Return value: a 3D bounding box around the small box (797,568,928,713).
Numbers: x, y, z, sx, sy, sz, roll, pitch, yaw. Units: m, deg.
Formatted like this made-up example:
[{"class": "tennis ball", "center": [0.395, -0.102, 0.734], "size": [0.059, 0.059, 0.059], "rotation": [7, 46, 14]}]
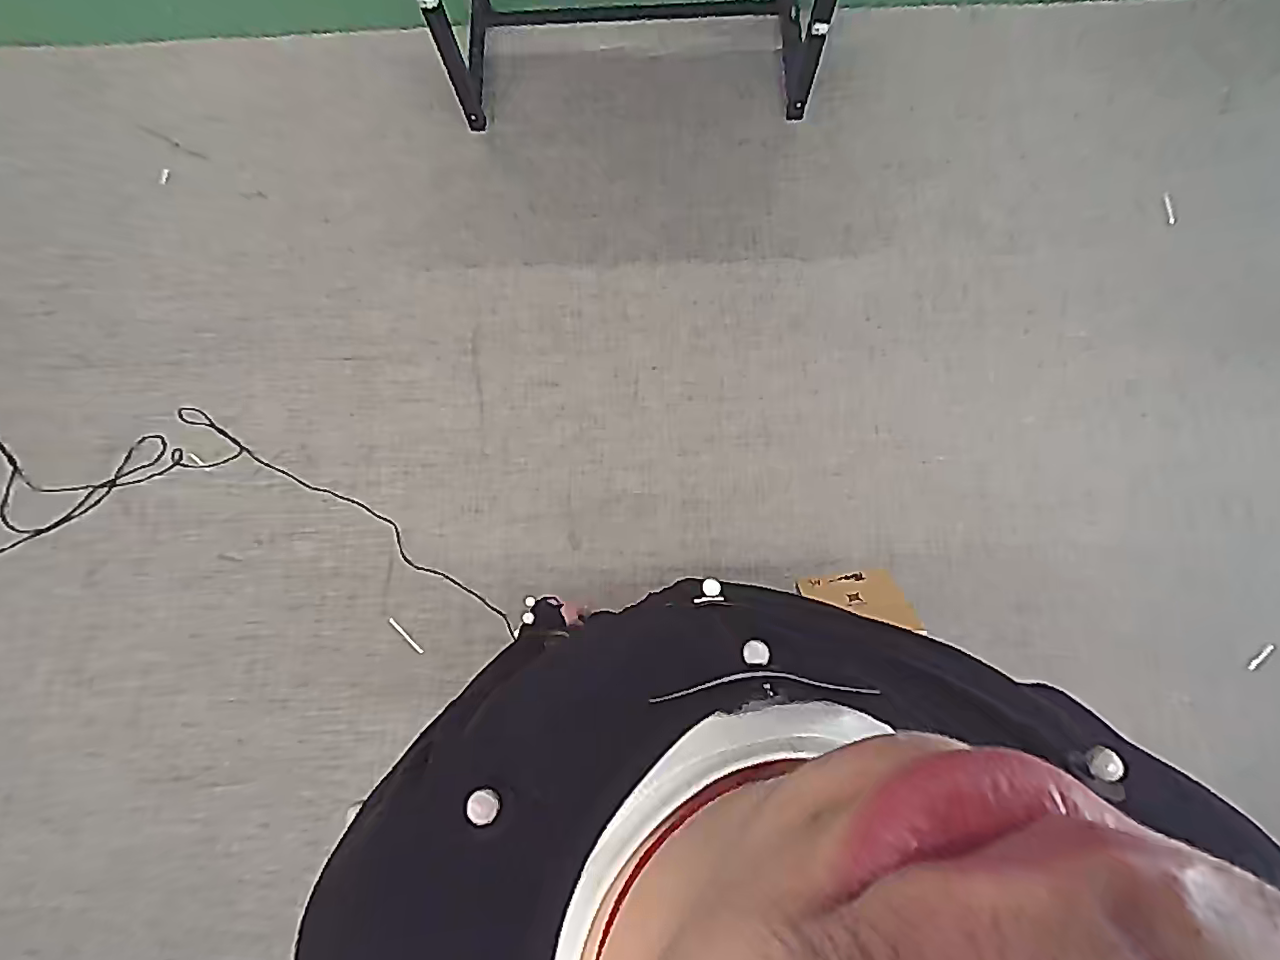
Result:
[{"class": "small box", "center": [0.386, 0.284, 0.947], "size": [0.168, 0.179, 0.176], "rotation": [-11, 114, 5]}]
